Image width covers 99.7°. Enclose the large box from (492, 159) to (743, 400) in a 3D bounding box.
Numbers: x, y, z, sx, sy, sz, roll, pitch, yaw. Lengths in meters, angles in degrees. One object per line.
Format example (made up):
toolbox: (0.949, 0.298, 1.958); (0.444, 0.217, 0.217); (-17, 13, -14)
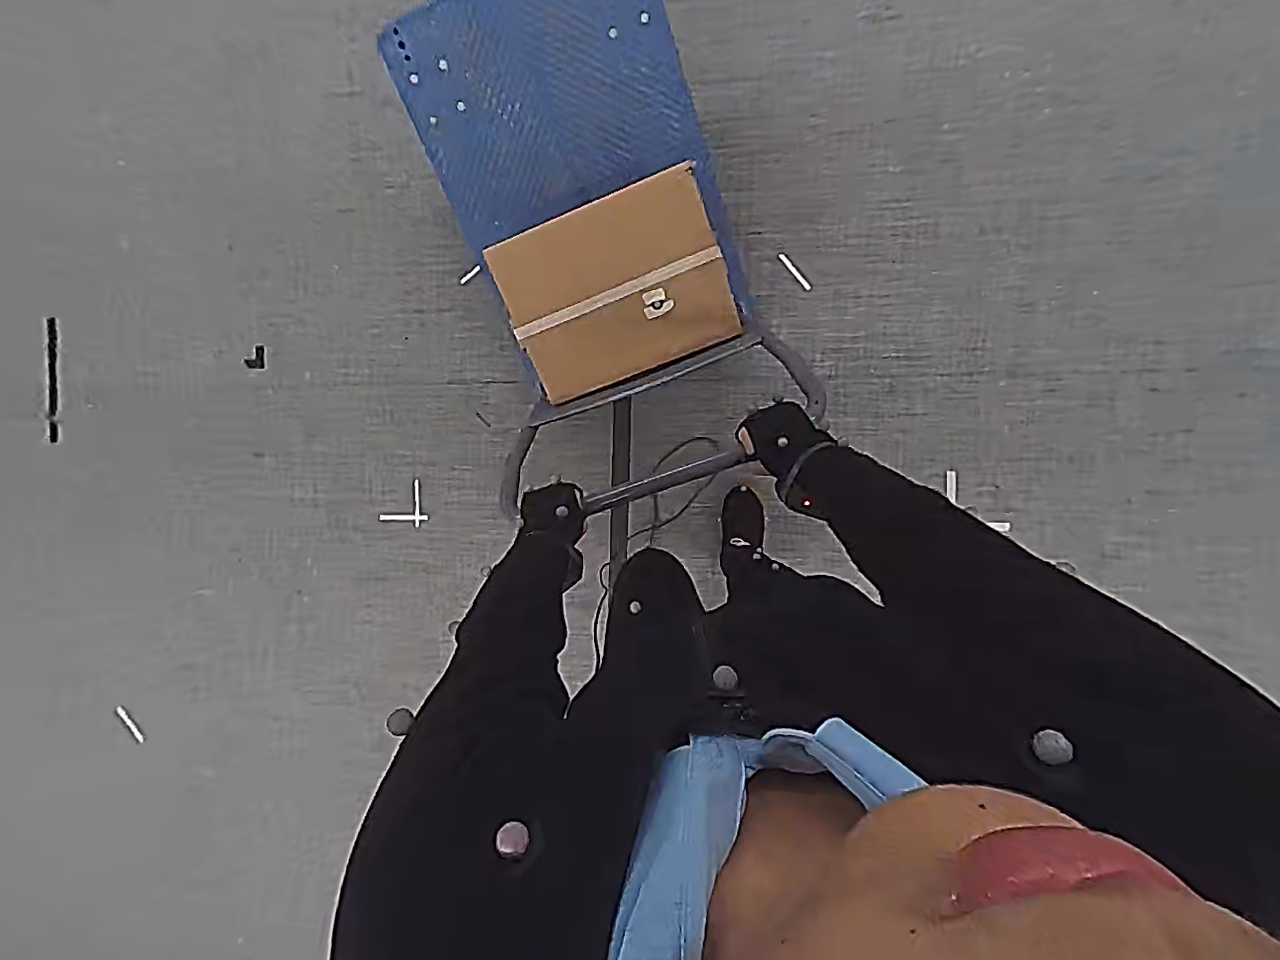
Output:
large box: (-0.040, -0.414, 1.164); (0.408, 0.320, 0.320); (-21, 110, 7)
